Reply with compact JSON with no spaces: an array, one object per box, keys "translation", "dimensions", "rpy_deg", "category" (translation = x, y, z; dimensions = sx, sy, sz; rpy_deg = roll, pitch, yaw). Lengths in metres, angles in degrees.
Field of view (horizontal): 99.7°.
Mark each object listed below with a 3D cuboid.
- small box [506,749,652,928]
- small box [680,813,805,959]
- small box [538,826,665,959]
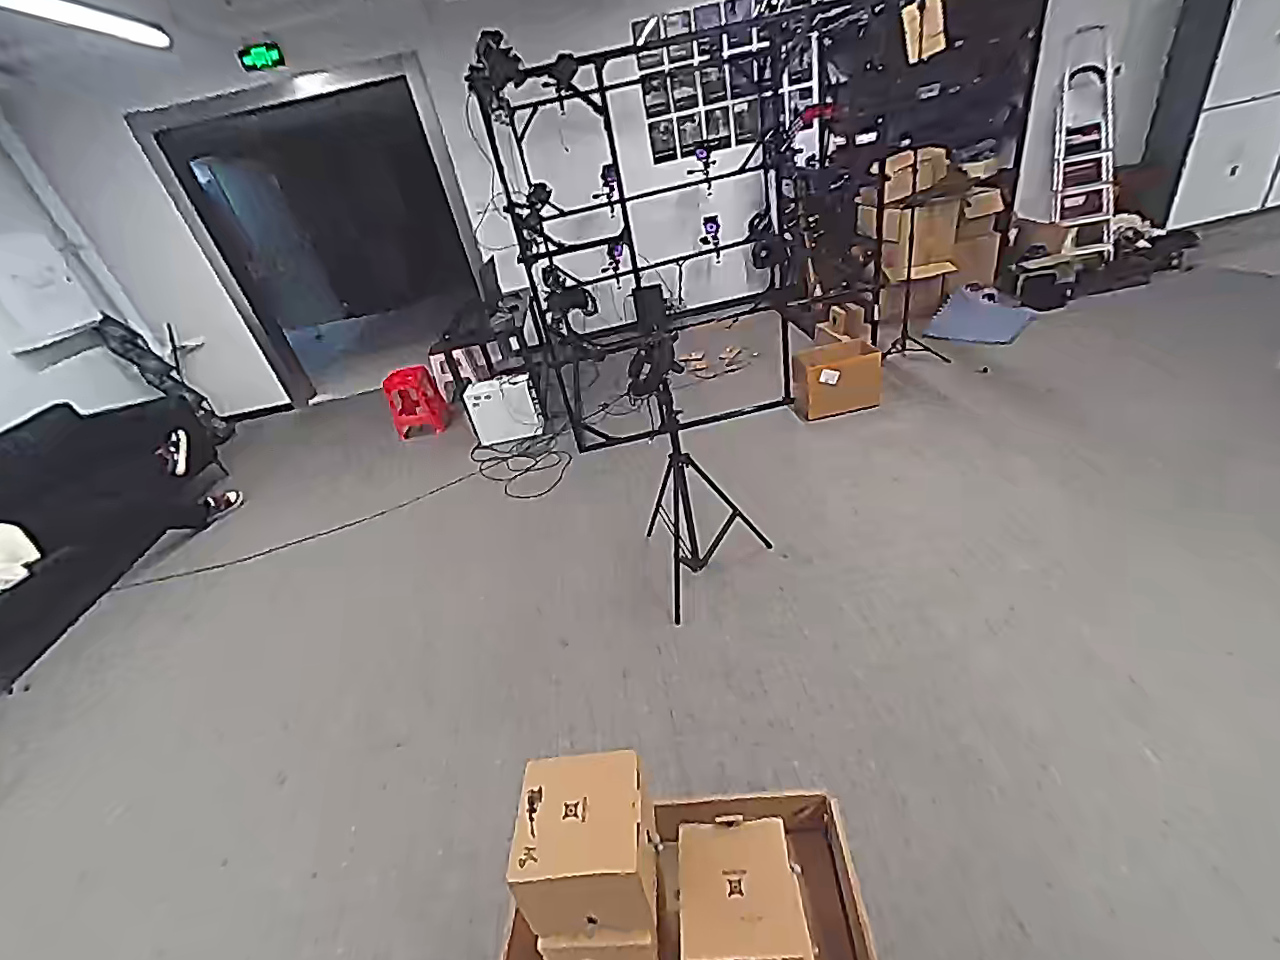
[{"translation":[-0.075,0.526,0.797],"dimensions":[0.179,0.176,0.168],"rpy_deg":[-7,30,5],"category":"small box"},{"translation":[0.154,0.646,0.827],"dimensions":[0.168,0.176,0.179],"rpy_deg":[-9,31,9],"category":"small box"},{"translation":[-0.051,0.669,0.873],"dimensions":[0.168,0.176,0.179],"rpy_deg":[-7,31,6],"category":"small box"}]
